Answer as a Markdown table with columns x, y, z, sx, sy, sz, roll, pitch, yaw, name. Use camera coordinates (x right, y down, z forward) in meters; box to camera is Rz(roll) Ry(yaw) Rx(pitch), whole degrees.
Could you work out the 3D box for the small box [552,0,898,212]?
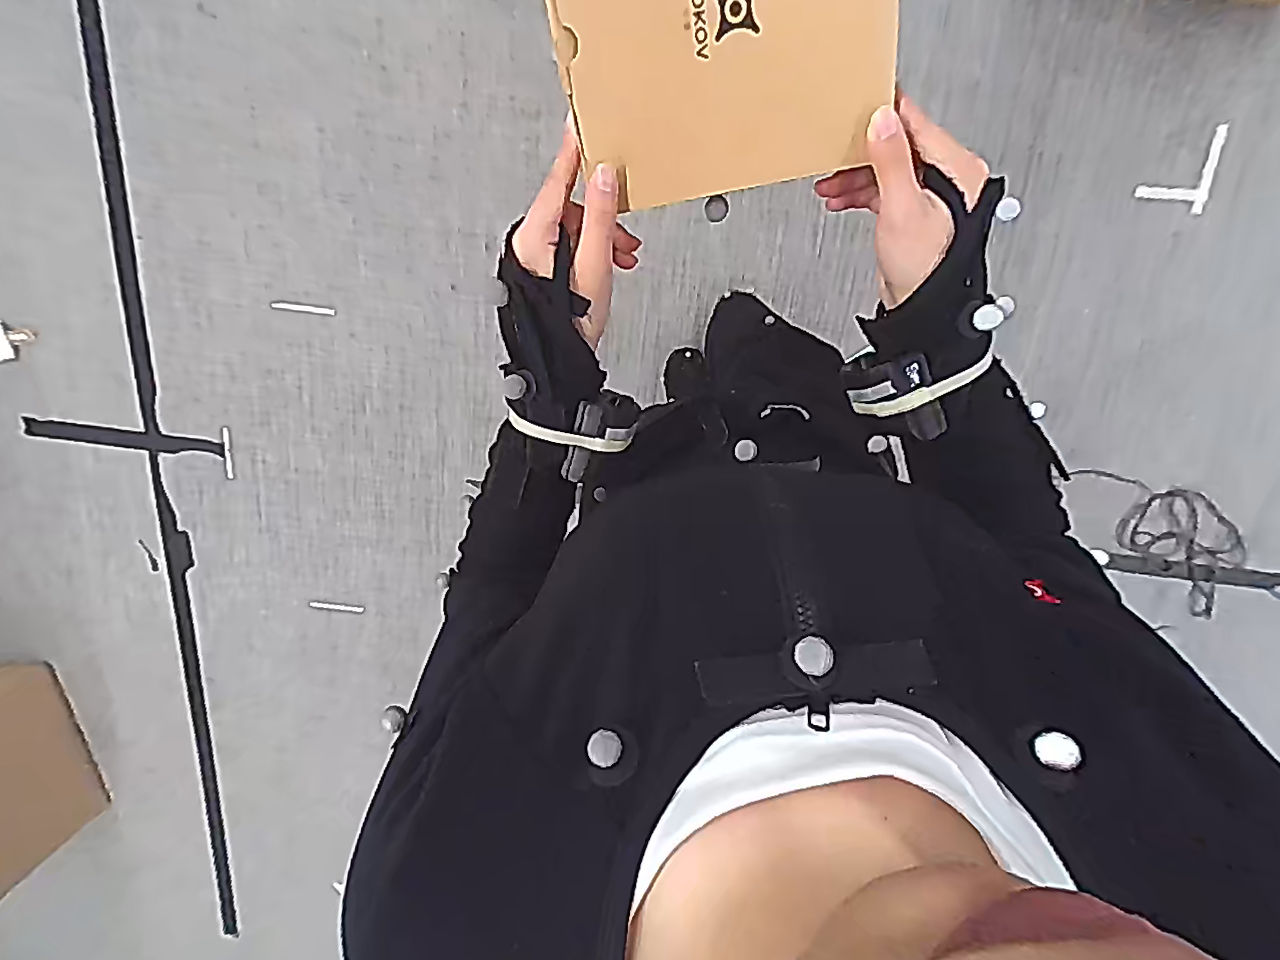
| x | y | z | sx | sy | sz | roll | pitch | yaw | name |
| --- | --- | --- | --- | --- | --- | --- | --- | --- | --- |
| 0.041 | -0.279 | 0.341 | 0.179 | 0.176 | 0.168 | -9 | 119 | 3 | small box |
